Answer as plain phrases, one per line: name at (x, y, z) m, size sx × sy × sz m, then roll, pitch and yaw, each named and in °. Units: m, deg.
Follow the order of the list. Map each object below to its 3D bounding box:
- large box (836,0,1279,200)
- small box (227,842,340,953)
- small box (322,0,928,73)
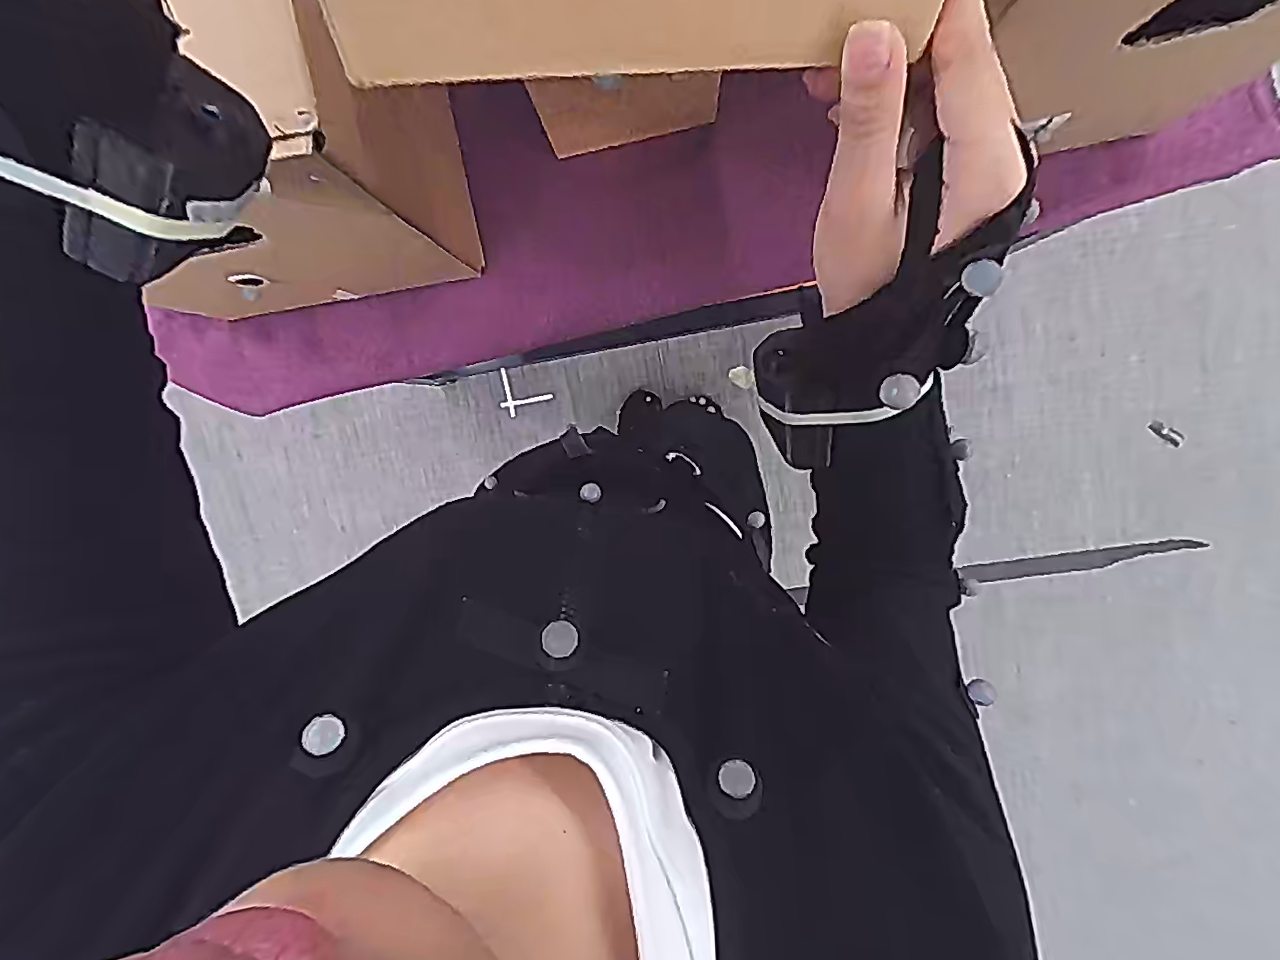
large box at (0.328, -0.497, 0.395) m, size 0.320 × 0.320 × 0.408 m, roll -10°, pitch 96°, yaw 4°
small box at (-0.987, 1.158, 1.510) m, size 0.179 × 0.176 × 0.168 m, roll -16°, pitch 98°, yaw 5°
small box at (-0.008, -0.238, 0.138) m, size 0.179 × 0.168 × 0.176 m, roll -6°, pitch 58°, yaw -4°
